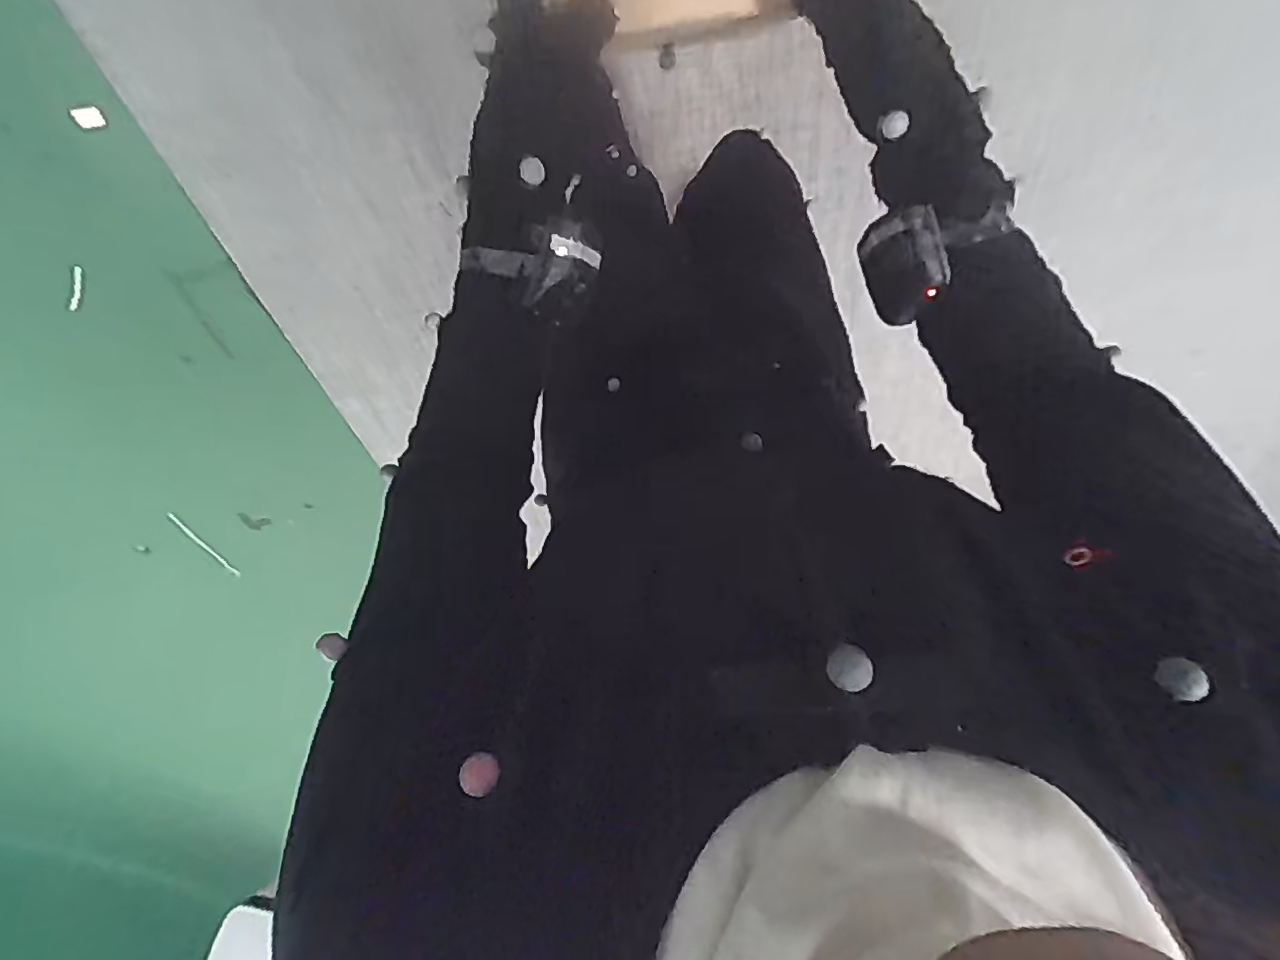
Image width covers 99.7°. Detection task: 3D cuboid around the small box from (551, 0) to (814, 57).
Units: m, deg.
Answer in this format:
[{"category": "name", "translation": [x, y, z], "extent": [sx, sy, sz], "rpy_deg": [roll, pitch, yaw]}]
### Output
[{"category": "small box", "translation": [0.015, -0.418, 0.384], "extent": [0.179, 0.176, 0.168], "rpy_deg": [-9, 124, -2]}]
